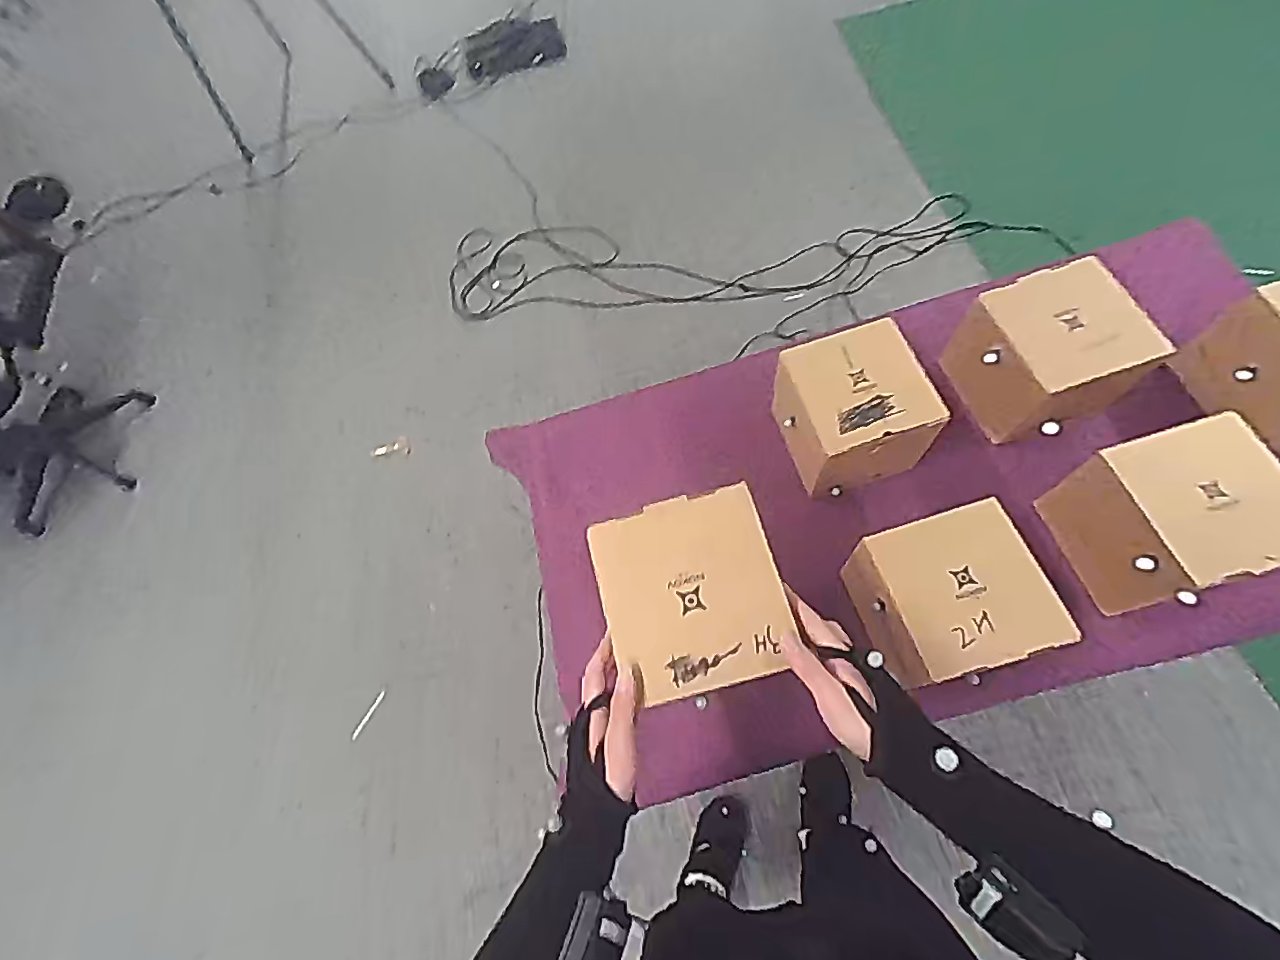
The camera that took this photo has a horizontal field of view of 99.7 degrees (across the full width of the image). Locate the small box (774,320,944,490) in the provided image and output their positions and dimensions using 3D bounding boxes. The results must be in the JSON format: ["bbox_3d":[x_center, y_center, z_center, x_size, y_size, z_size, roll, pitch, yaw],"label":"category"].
[{"bbox_3d":[0.310,-0.098,0.807,0.168,0.176,0.179,-16,65,2],"label":"small box"}]

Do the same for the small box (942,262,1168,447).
[{"bbox_3d":[0.584,-0.176,0.796,0.168,0.176,0.179,-18,67,3],"label":"small box"}]

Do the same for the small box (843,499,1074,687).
[{"bbox_3d":[0.380,0.151,0.689,0.168,0.176,0.179,-17,65,2],"label":"small box"}]

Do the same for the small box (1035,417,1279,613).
[{"bbox_3d":[0.659,0.052,0.687,0.168,0.176,0.179,-17,65,2],"label":"small box"}]
